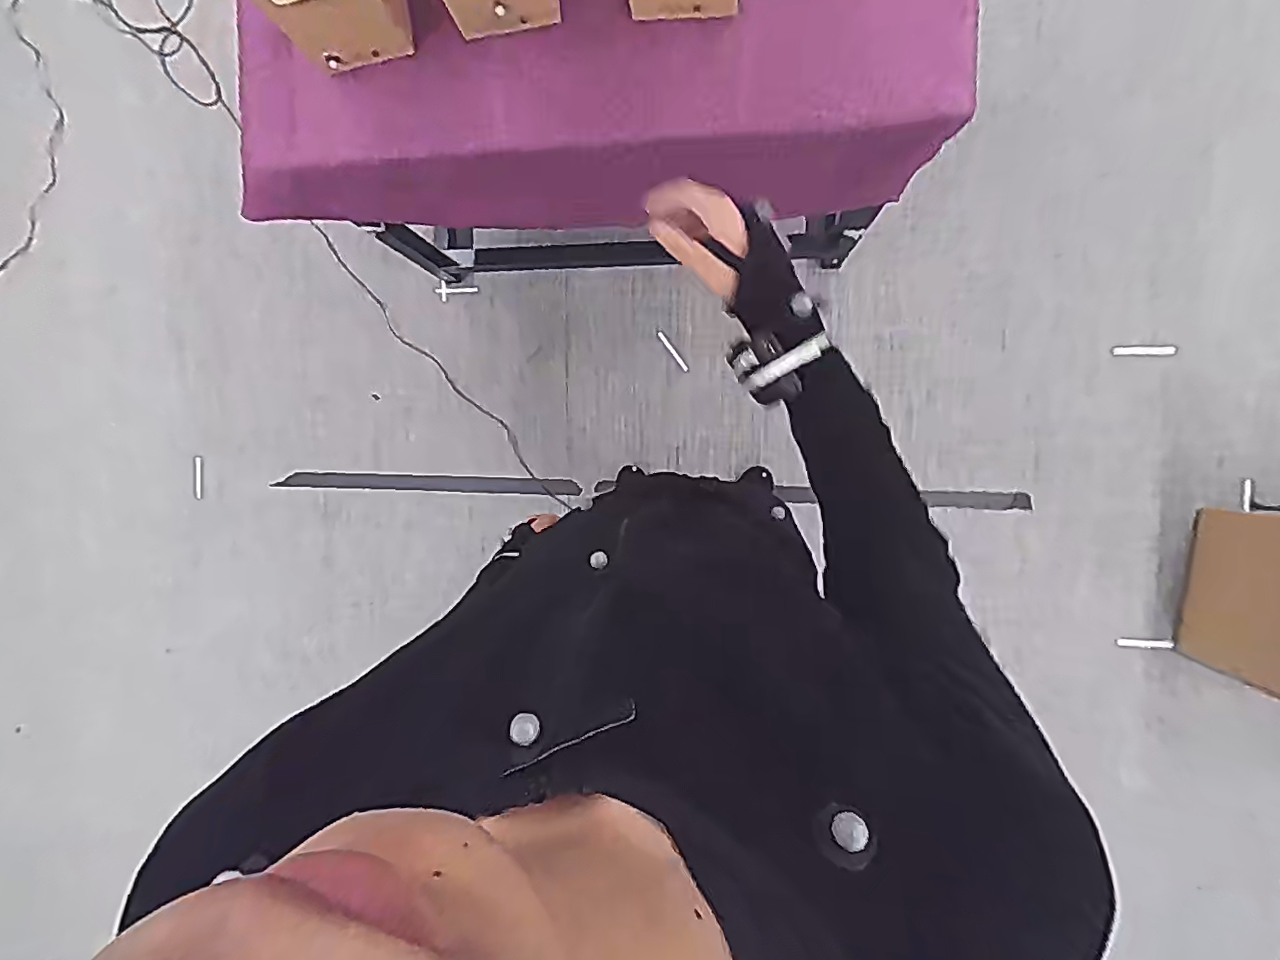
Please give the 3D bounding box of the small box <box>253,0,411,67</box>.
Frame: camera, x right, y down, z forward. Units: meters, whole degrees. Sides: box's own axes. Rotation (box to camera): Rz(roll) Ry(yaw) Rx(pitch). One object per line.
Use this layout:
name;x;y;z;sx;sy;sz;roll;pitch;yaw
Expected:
small box;-0.478;-0.785;0.835;0.168;0.176;0.179;-8;91;7

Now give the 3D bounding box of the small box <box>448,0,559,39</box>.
small box;-0.225;-0.816;0.803;0.168;0.176;0.179;-4;92;8
